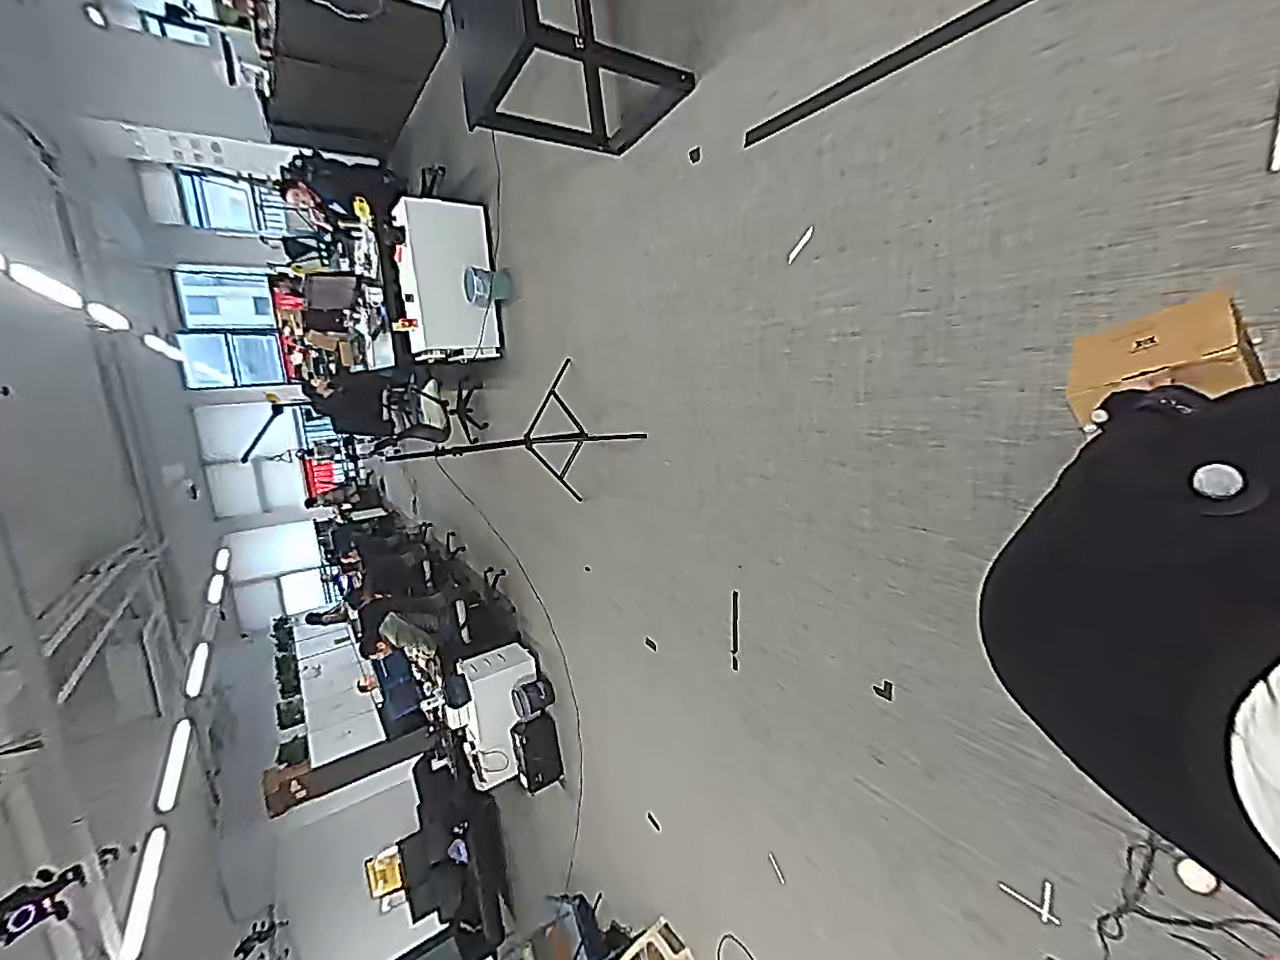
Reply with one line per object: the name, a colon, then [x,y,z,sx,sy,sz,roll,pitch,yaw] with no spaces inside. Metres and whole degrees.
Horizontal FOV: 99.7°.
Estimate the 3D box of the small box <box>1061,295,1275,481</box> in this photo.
small box: [0.717,-0.113,0.739,0.168,0.179,0.176,-20,110,52]
